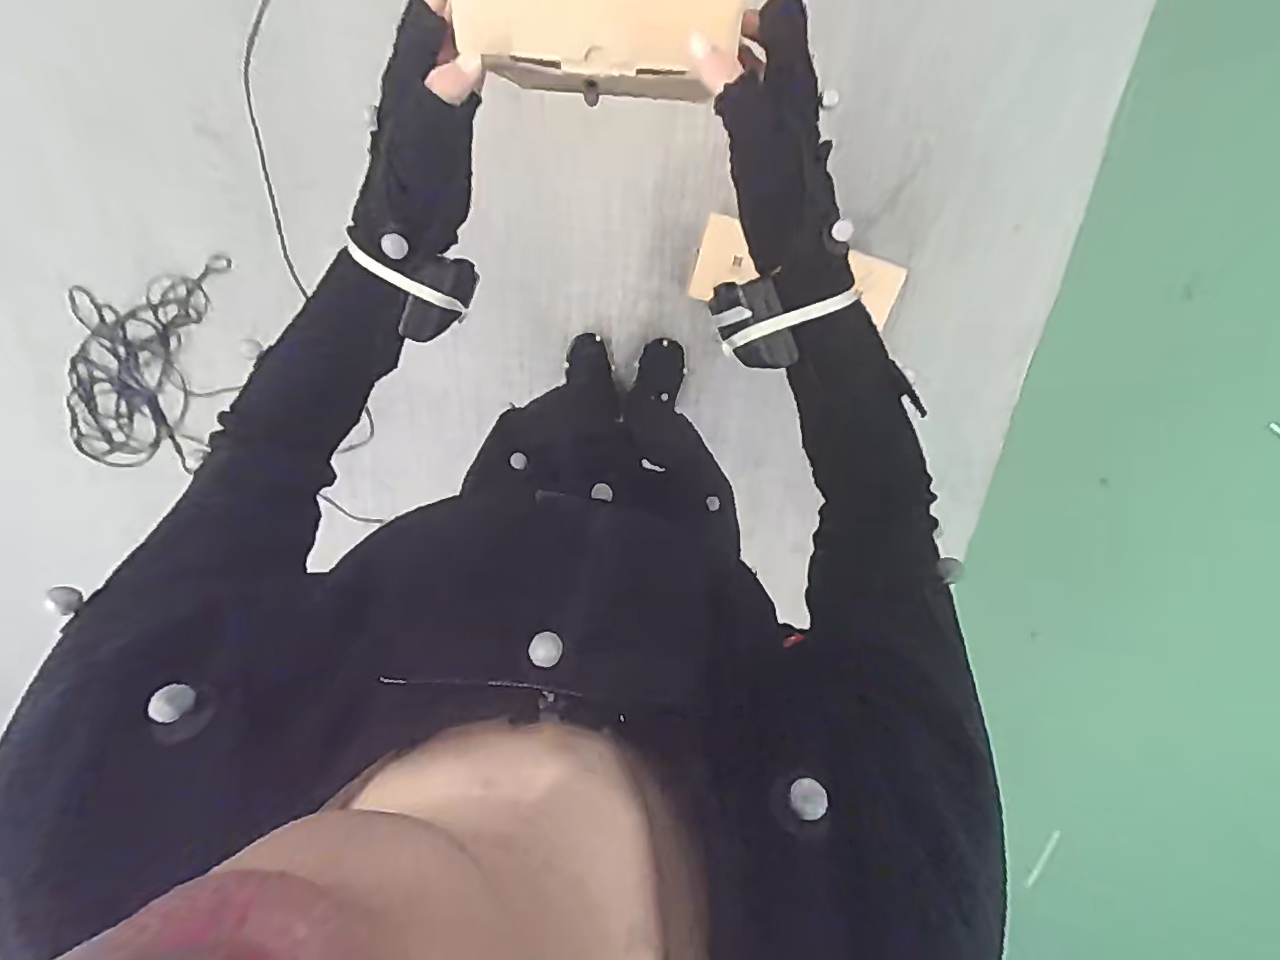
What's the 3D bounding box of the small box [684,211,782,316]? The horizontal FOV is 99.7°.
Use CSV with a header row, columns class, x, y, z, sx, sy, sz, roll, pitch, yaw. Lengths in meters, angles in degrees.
class,x,y,z,sx,sy,sz,roll,pitch,yaw
small box,0.199,-0.484,1.221,0.168,0.176,0.179,15,110,-3
